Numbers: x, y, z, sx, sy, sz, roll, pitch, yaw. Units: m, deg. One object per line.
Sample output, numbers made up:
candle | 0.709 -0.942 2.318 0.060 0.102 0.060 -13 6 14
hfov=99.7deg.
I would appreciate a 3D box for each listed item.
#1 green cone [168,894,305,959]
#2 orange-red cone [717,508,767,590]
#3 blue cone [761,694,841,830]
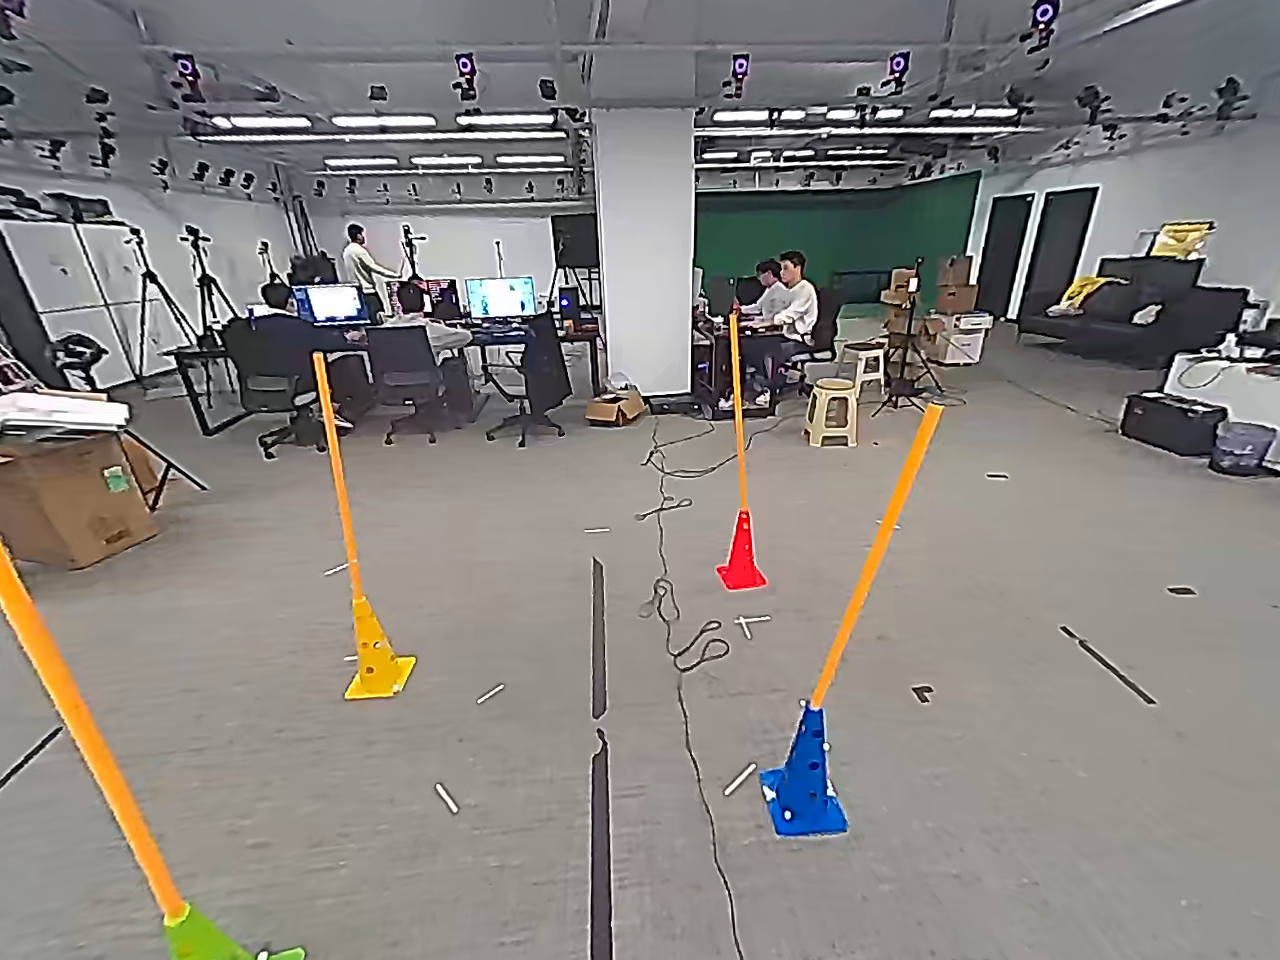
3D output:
green cone | -0.836 0.955 1.061 0.200 0.368 0.202 -8 22 -14
orange-red cone | 0.471 0.297 2.483 0.199 0.360 0.198 -7 23 -8
blue cone | 0.450 0.746 1.467 0.193 0.380 0.192 -3 22 -1
